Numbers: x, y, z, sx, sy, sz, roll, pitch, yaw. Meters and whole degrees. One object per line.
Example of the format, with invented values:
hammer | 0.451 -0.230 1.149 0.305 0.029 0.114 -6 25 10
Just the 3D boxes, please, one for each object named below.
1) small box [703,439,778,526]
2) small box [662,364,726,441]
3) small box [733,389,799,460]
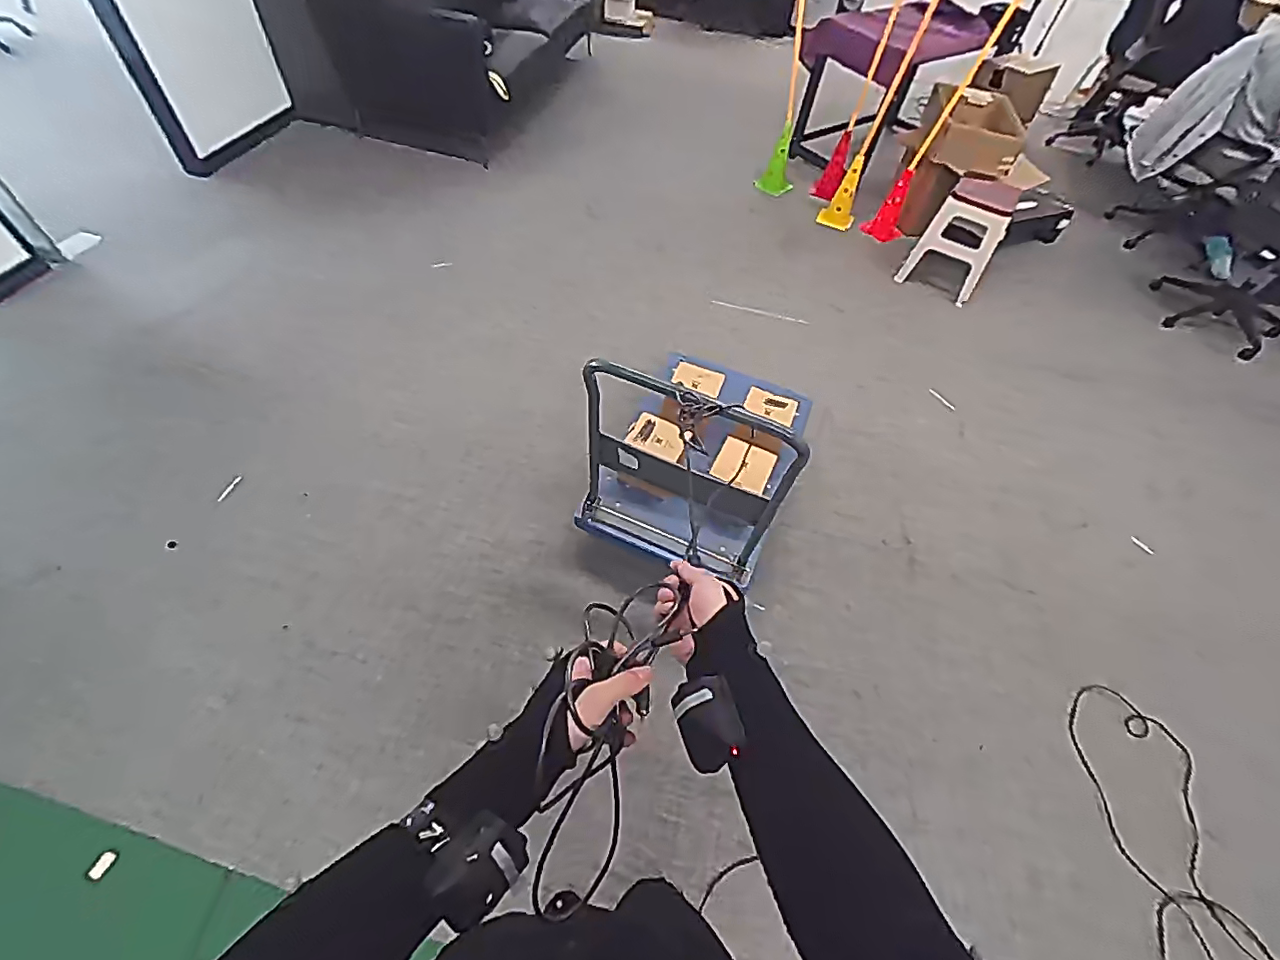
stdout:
small box | 0.306 0.010 1.682 0.168 0.176 0.179 24 56 12
small box | 0.181 -0.262 1.864 0.168 0.176 0.179 20 55 8
small box | 0.414 -0.169 1.817 0.168 0.176 0.179 20 56 11
